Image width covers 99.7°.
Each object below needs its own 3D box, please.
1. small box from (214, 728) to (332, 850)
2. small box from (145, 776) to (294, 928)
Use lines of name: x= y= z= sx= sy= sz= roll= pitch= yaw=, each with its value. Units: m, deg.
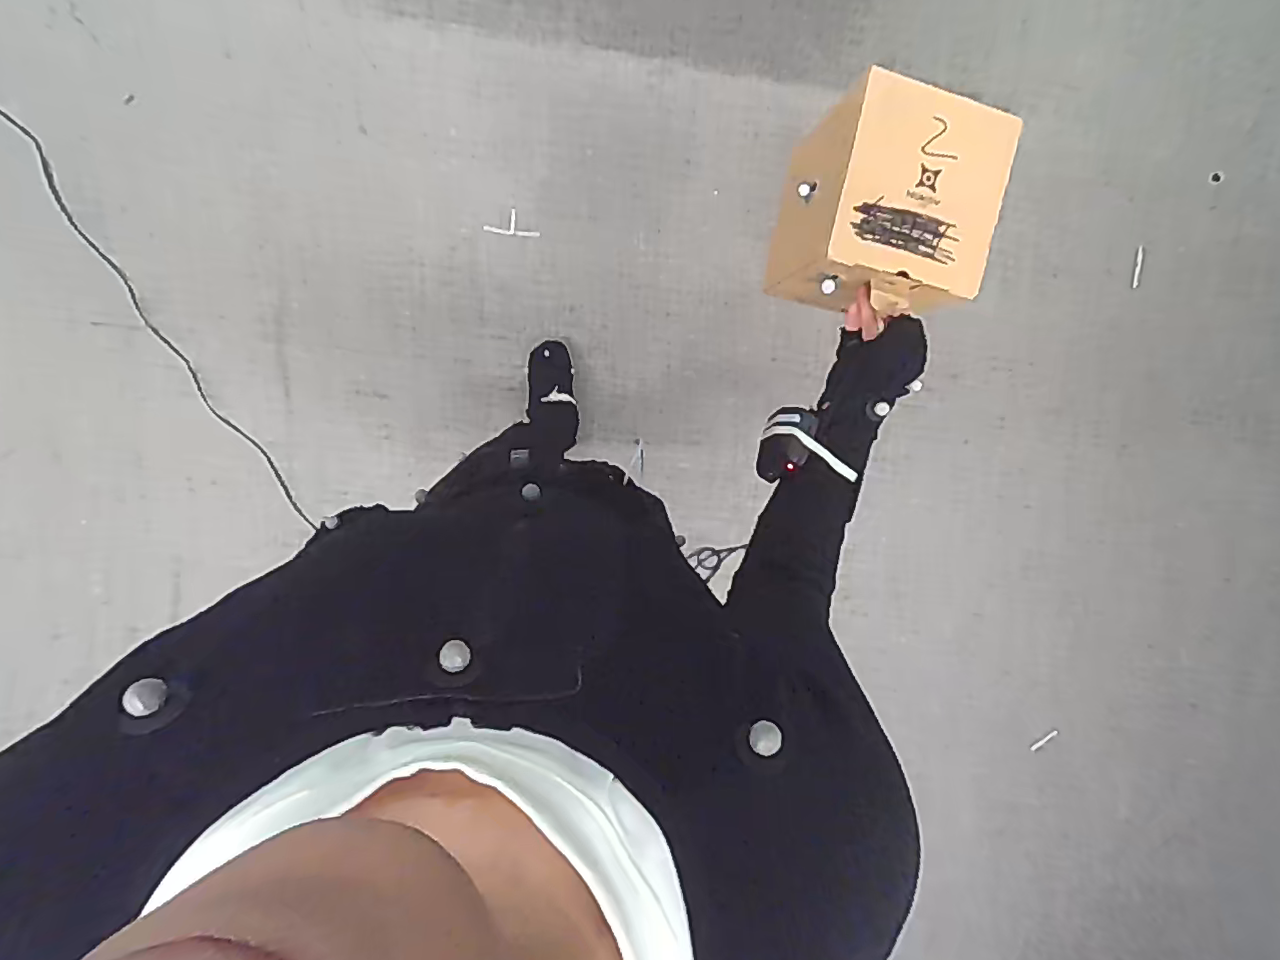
small box: x=-0.820 y=0.690 z=1.213 sx=0.168 sy=0.176 sz=0.179 roll=8 pitch=94 yaw=-6
small box: x=-0.807 y=0.715 z=1.053 sx=0.168 sy=0.176 sz=0.179 roll=8 pitch=94 yaw=-5
